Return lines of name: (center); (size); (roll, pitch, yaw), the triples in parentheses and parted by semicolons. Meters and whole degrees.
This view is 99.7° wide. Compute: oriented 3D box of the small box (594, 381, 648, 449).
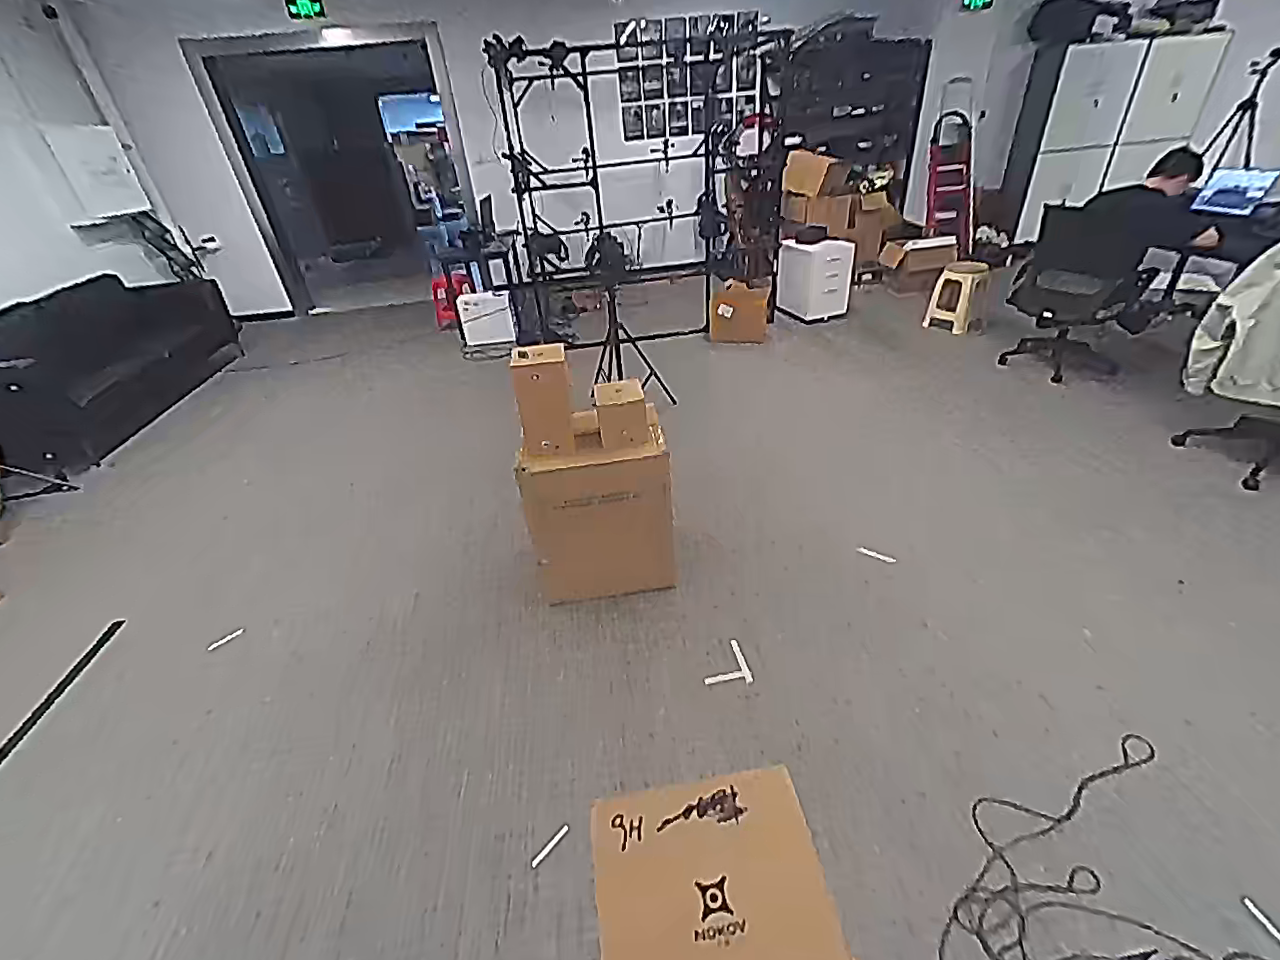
small box: (-0.067, -0.231, 1.913); (0.168, 0.176, 0.179); (-10, 34, -2)

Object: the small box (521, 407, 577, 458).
small box: (-0.318, -0.196, 1.903); (0.168, 0.176, 0.179); (-9, 35, -4)

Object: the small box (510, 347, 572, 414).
small box: (-0.328, -0.331, 1.810); (0.179, 0.176, 0.168); (-8, 34, -5)

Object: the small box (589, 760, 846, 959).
small box: (0.058, 0.360, 0.437); (0.168, 0.176, 0.179); (-9, 43, -4)
